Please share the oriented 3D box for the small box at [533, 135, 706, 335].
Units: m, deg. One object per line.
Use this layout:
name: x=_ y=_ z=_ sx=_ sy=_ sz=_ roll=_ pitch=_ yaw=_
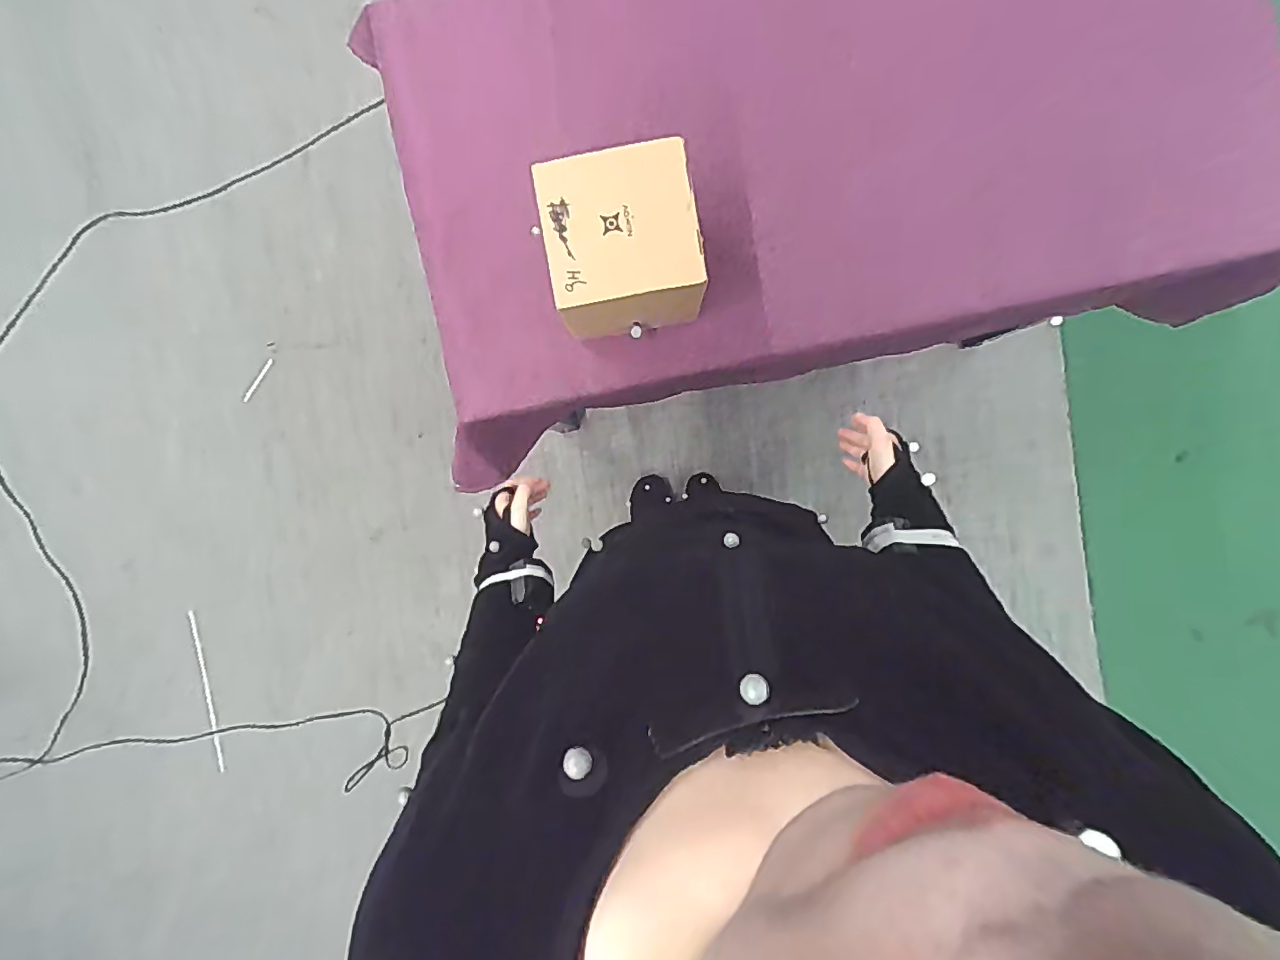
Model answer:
small box: x=-0.022 y=-0.293 z=0.684 sx=0.179 sy=0.176 sz=0.168 roll=-9 pitch=91 yaw=2
